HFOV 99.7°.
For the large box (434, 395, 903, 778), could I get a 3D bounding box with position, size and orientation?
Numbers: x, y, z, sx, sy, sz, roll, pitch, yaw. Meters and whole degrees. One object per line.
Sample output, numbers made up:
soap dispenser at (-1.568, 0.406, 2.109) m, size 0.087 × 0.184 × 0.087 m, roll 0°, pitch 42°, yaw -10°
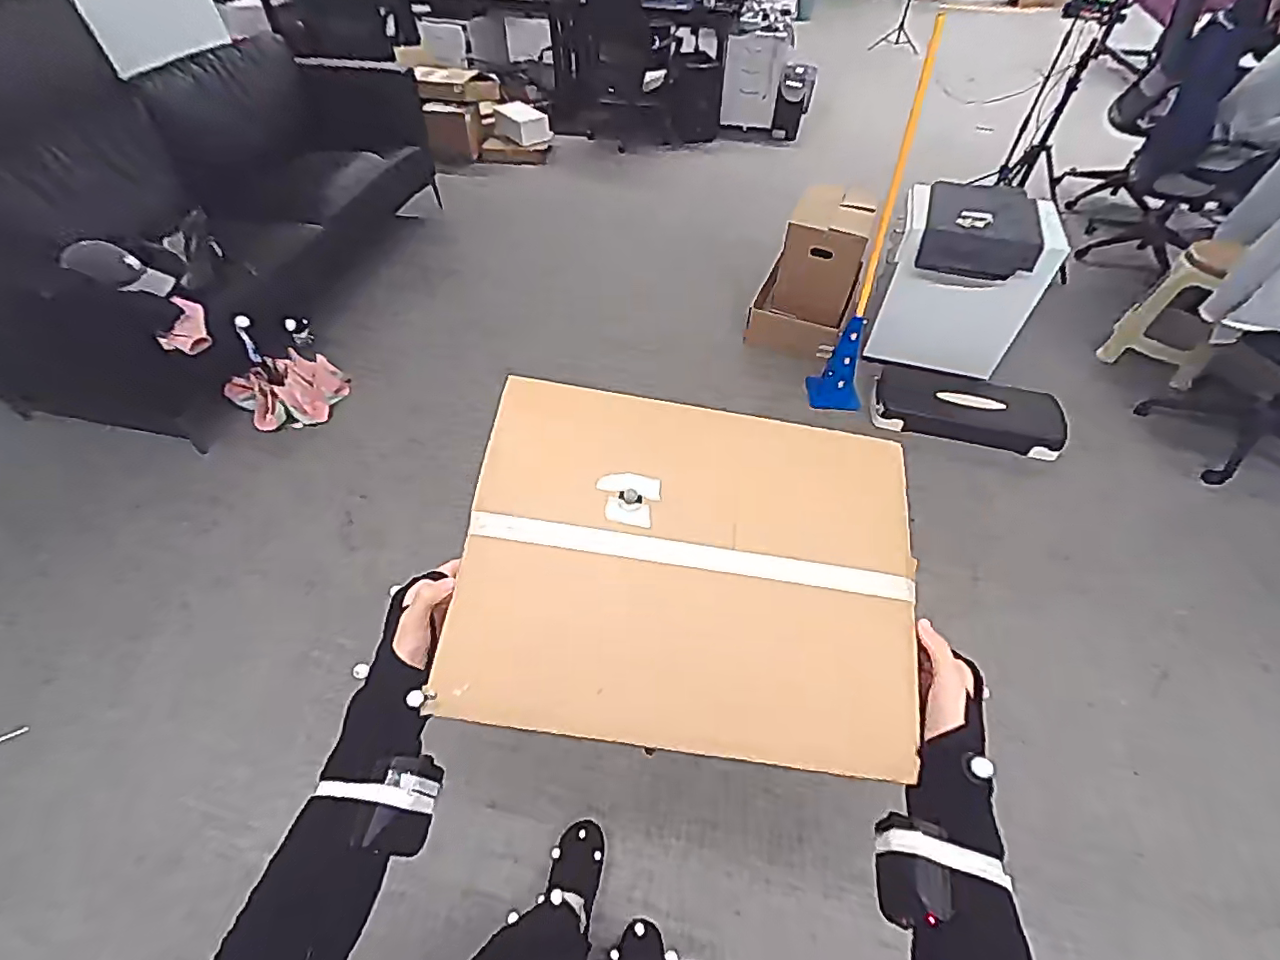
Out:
large box at (0.035, 0.133, 0.640) m, size 0.408 × 0.320 × 0.320 m, roll 9°, pitch 68°, yaw -1°
